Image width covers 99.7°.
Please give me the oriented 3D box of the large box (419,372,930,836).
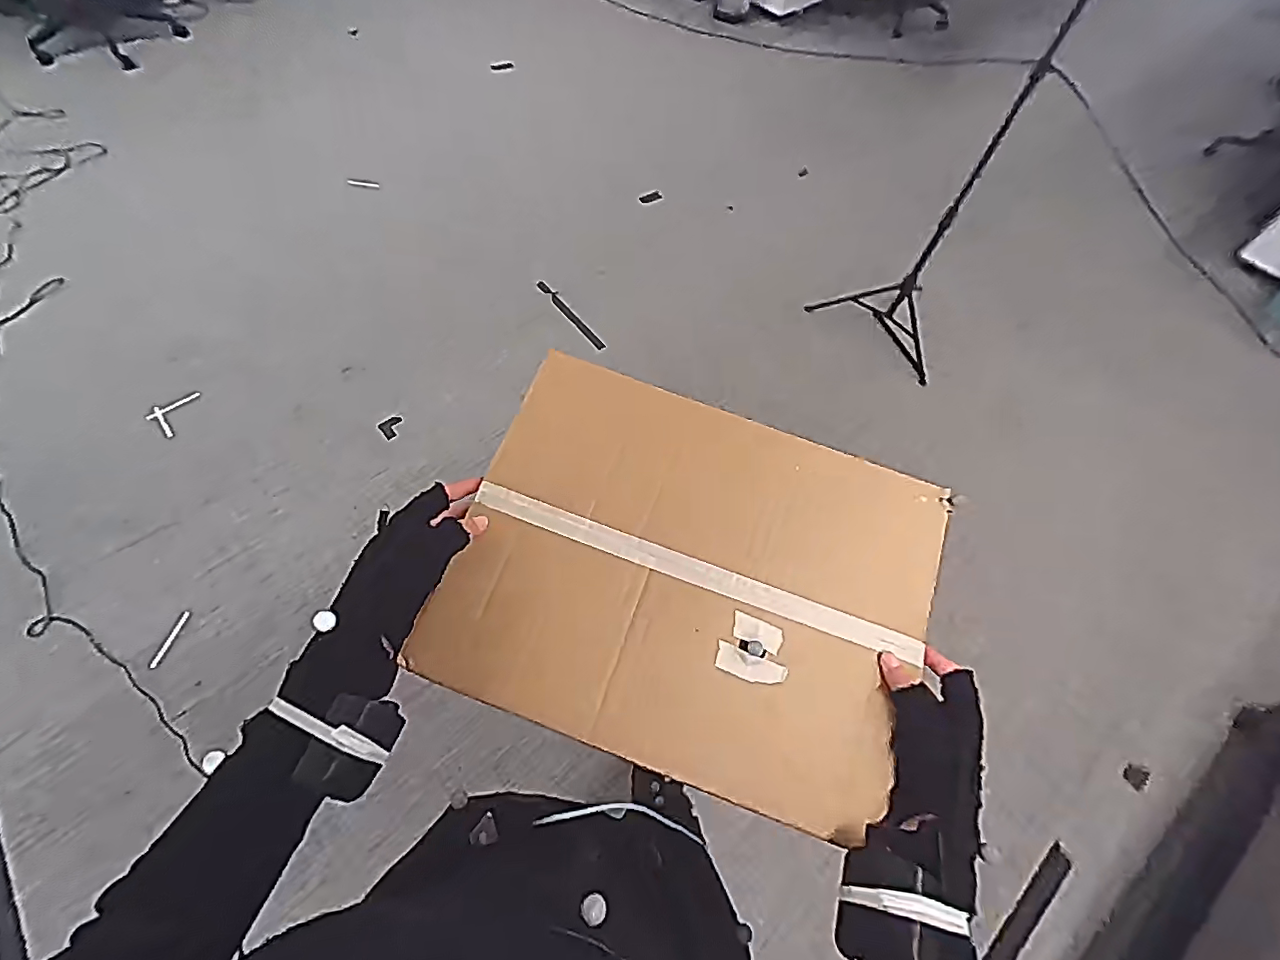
[{"bbox_3d":[0.038,0.135,0.628,0.408,0.320,0.320,20,72,3],"label":"large box"}]
